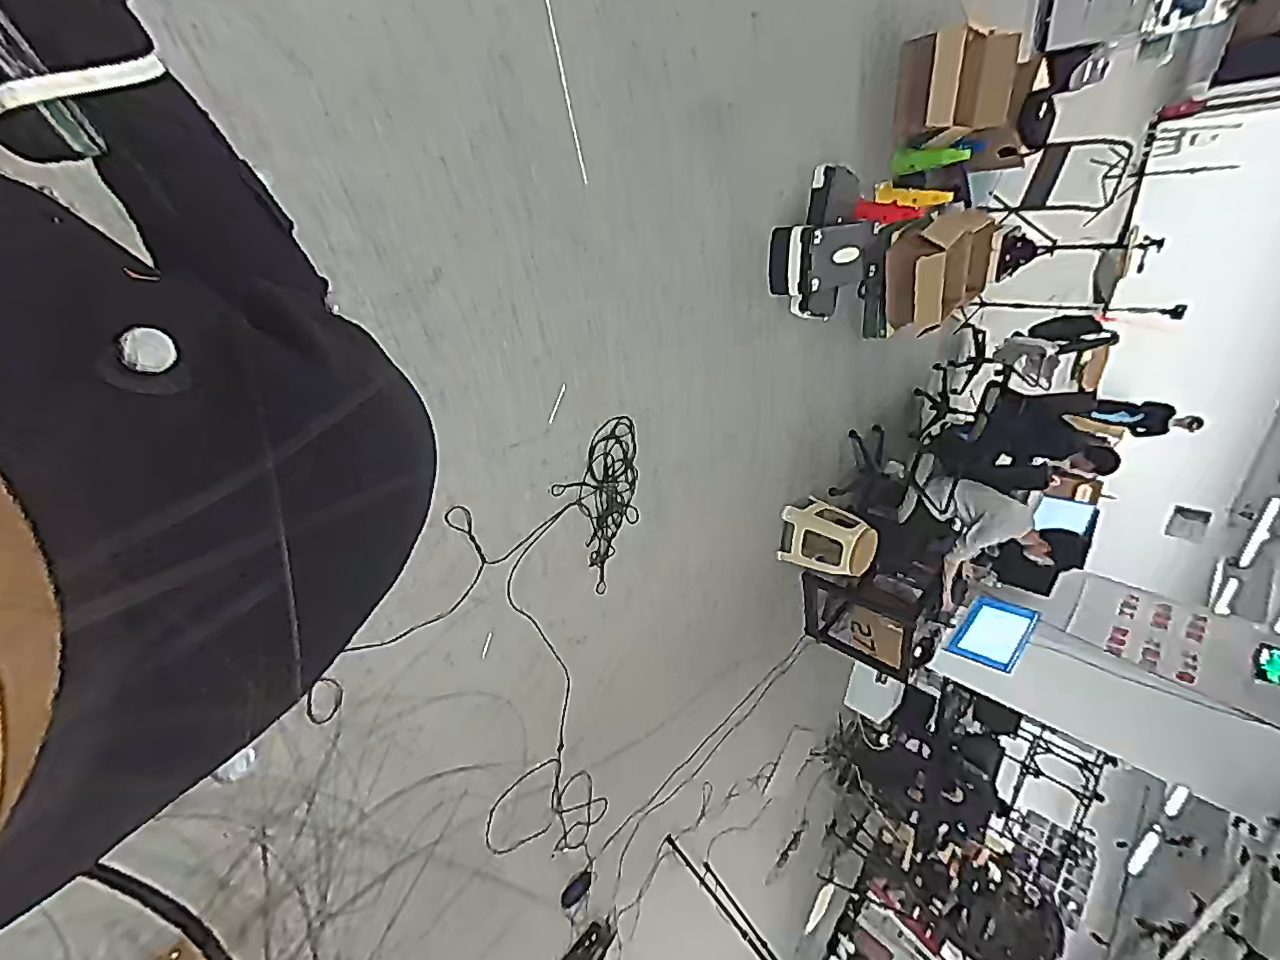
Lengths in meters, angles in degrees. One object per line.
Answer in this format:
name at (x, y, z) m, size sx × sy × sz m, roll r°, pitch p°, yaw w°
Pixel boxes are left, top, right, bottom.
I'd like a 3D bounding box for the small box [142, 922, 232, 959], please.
small box at (-1.185, 1.315, 1.407) m, size 0.168 × 0.176 × 0.179 m, roll -32°, pitch 126°, yaw -34°
